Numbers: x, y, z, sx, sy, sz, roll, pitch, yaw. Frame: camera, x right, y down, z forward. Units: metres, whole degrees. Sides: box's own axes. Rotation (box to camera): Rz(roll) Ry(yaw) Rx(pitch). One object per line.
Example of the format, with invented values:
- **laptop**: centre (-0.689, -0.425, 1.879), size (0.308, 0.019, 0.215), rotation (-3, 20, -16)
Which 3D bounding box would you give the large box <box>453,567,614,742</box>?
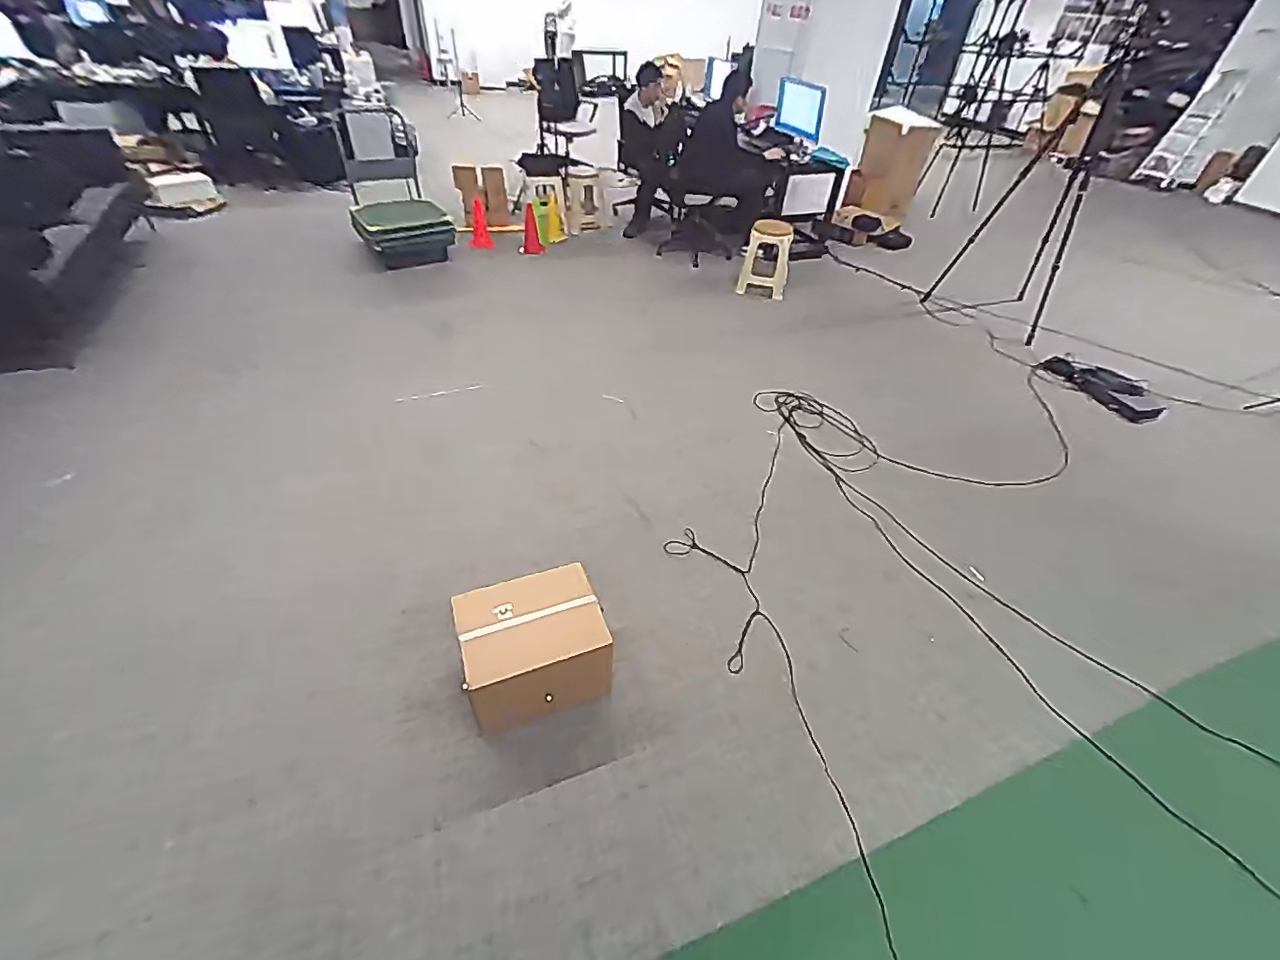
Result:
- **large box**: centre (-0.321, 0.532, 1.668), size (0.408, 0.320, 0.320), rotation (-15, 45, -19)
